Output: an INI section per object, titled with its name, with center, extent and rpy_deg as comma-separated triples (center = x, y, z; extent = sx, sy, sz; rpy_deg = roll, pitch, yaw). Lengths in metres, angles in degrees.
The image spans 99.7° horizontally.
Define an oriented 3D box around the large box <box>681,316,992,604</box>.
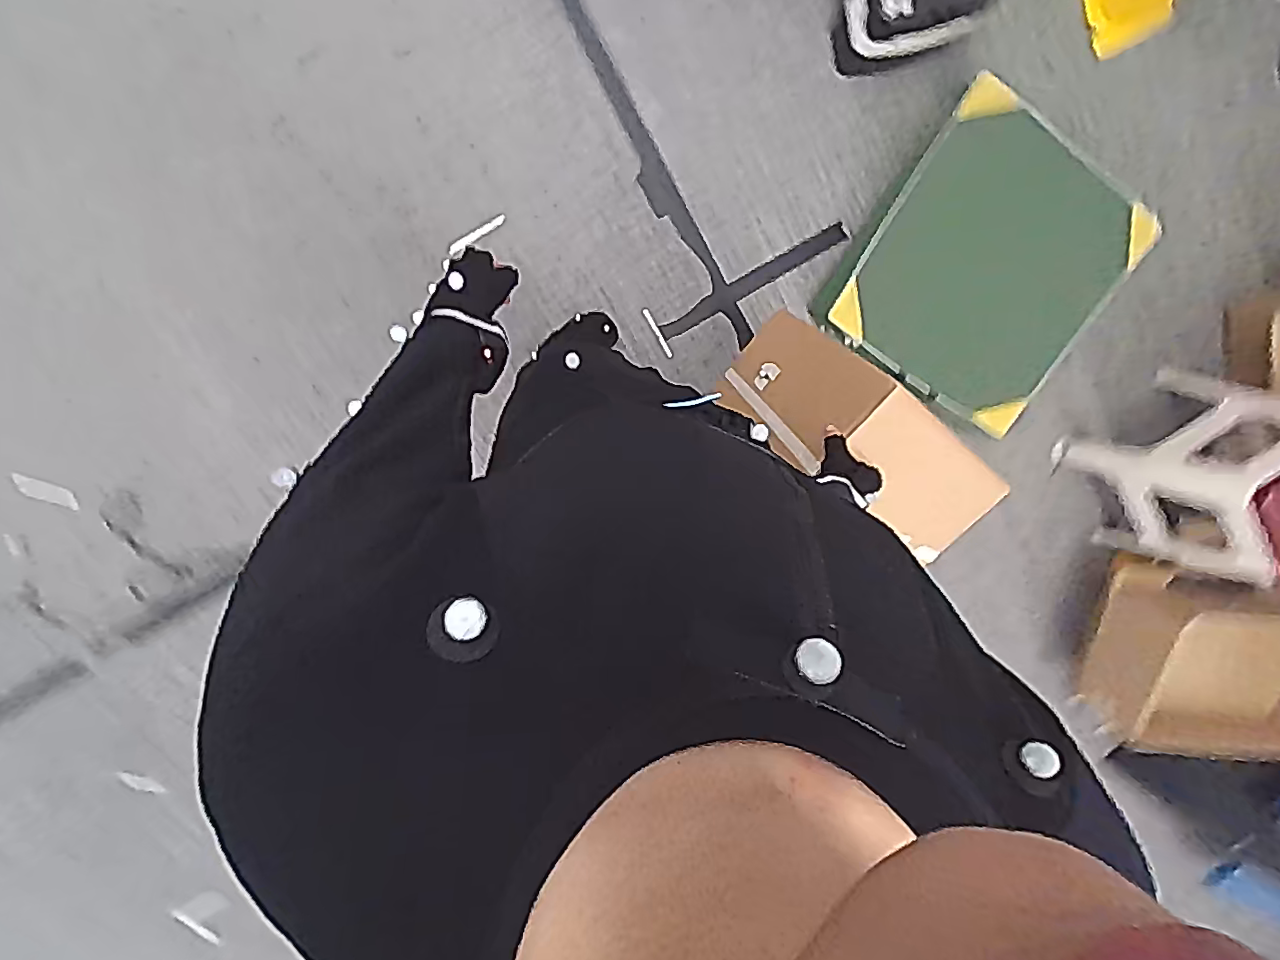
[large box]
center = 0.328, -0.049, 1.009
extent = 0.320, 0.408, 0.320
rpy_deg = 30, 111, -25
